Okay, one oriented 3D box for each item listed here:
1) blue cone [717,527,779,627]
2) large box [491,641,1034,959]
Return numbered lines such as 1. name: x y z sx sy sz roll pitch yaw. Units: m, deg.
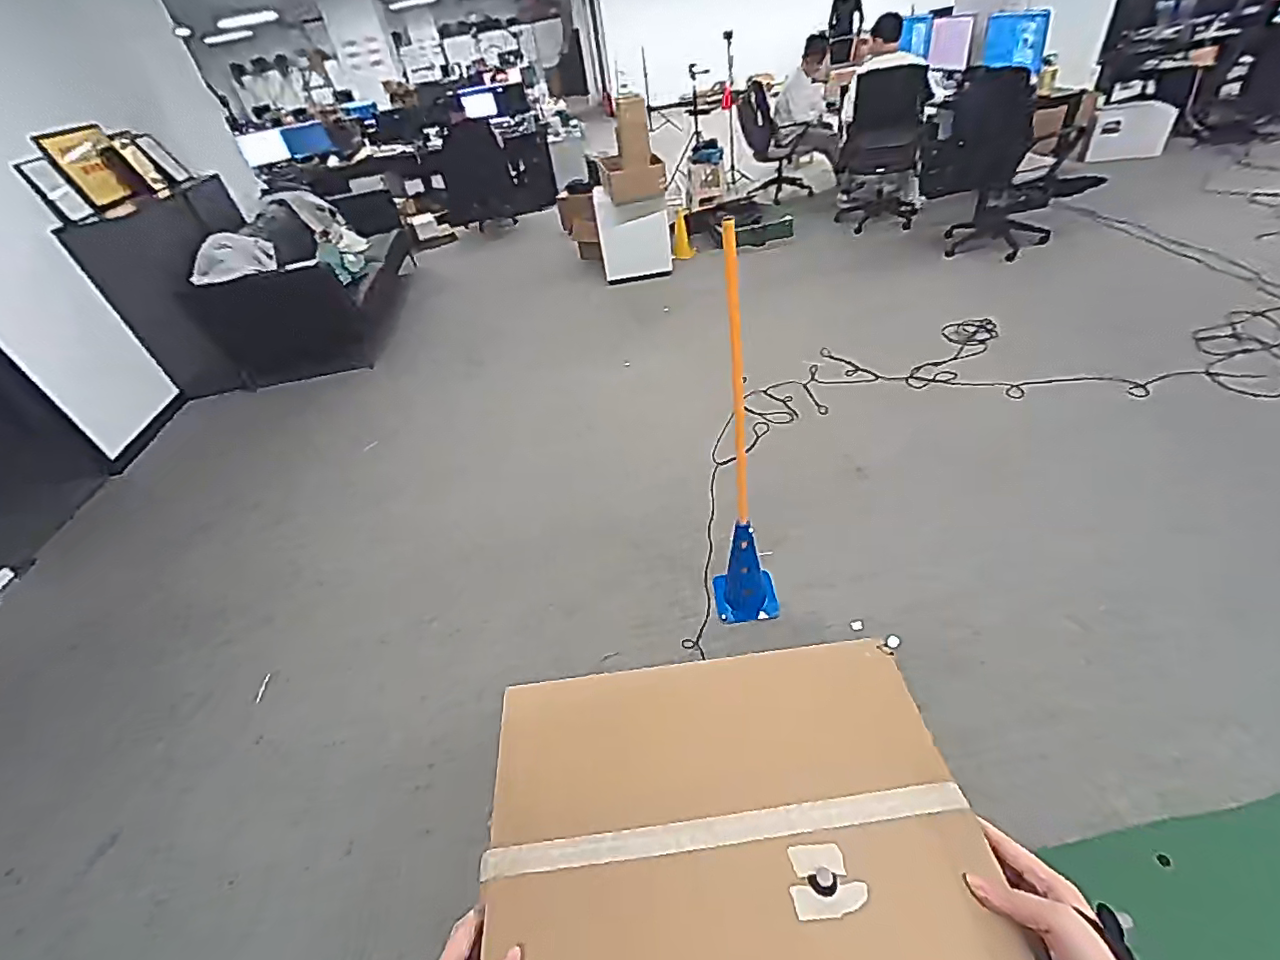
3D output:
1. blue cone: 0.338 0.285 1.722 0.193 0.380 0.192 -7 40 5
2. large box: 0.083 0.410 0.562 0.408 0.320 0.320 -7 42 -2
